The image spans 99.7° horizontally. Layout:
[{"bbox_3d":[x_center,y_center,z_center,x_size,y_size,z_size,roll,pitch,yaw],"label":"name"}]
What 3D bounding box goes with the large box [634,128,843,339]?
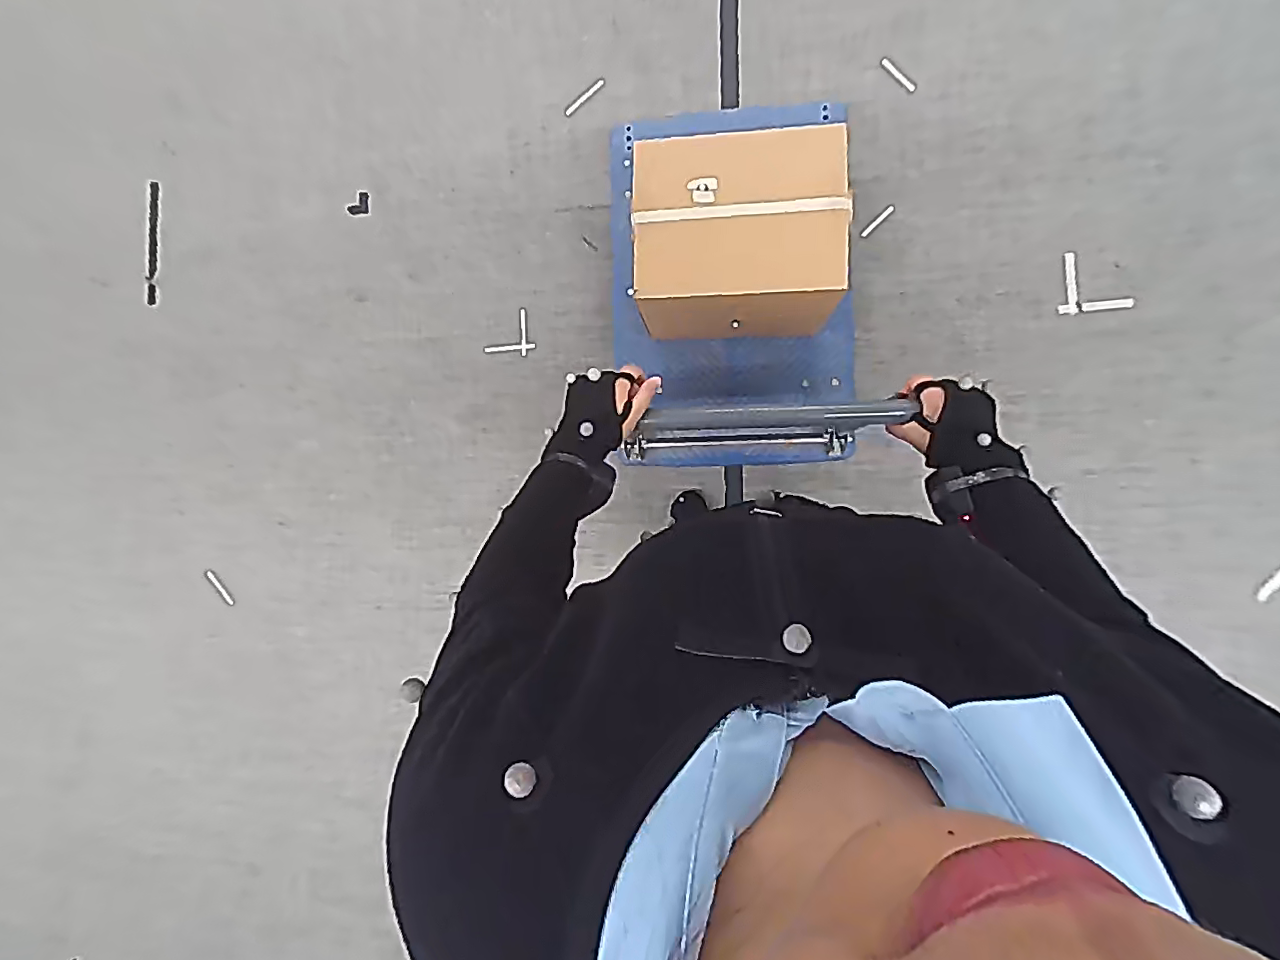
[{"bbox_3d":[0.210,-0.512,1.199,0.408,0.320,0.320,0,88,9],"label":"large box"}]
